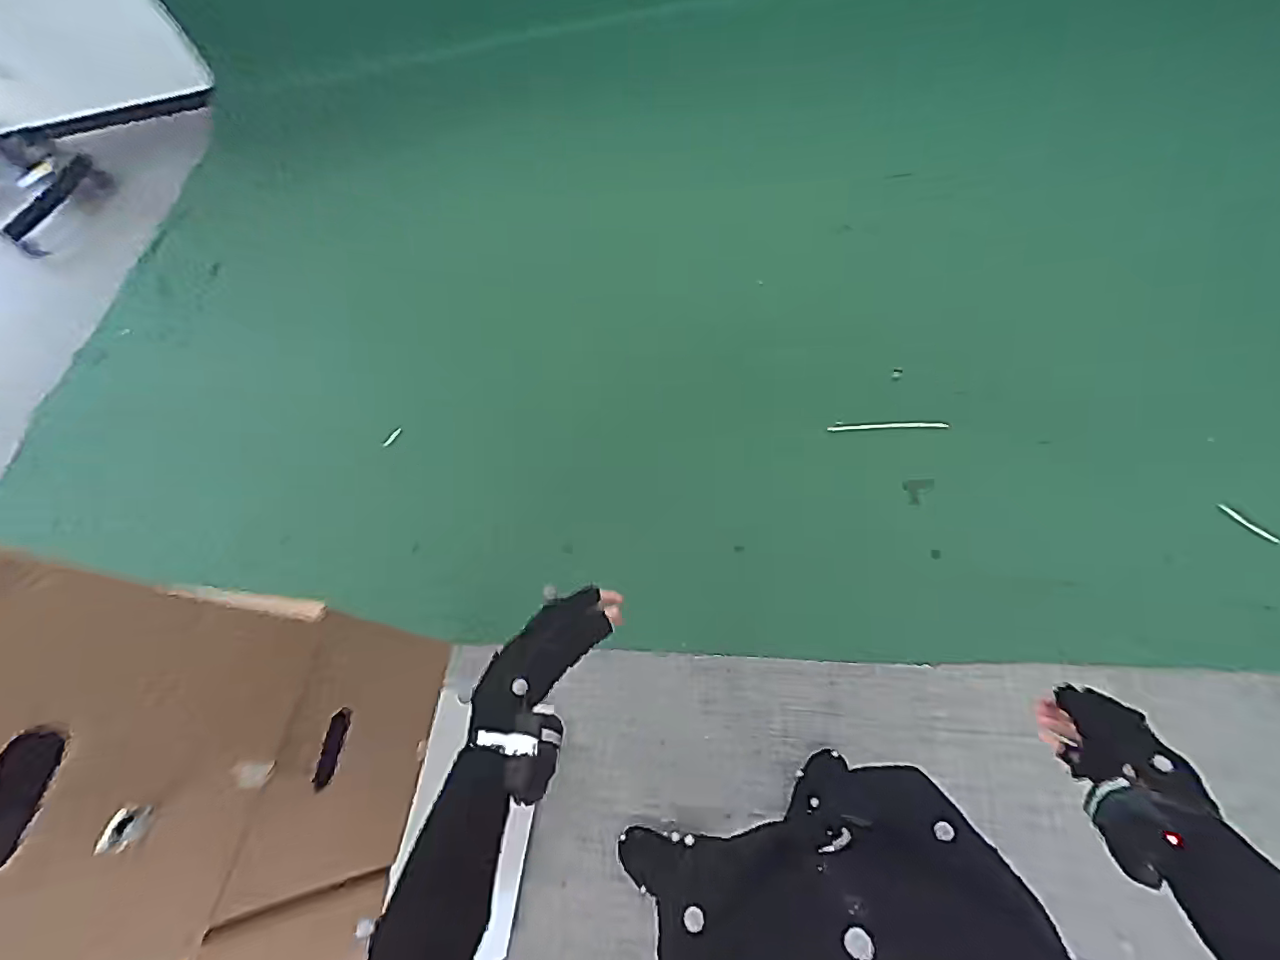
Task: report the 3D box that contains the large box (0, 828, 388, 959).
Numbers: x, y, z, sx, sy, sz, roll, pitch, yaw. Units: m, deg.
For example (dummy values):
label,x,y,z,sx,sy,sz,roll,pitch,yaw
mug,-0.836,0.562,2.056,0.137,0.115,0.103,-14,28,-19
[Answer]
label,x,y,z,sx,sy,sz,roll,pitch,yaw
large box,-0.592,0.633,0.631,0.408,0.320,0.320,1,64,14
